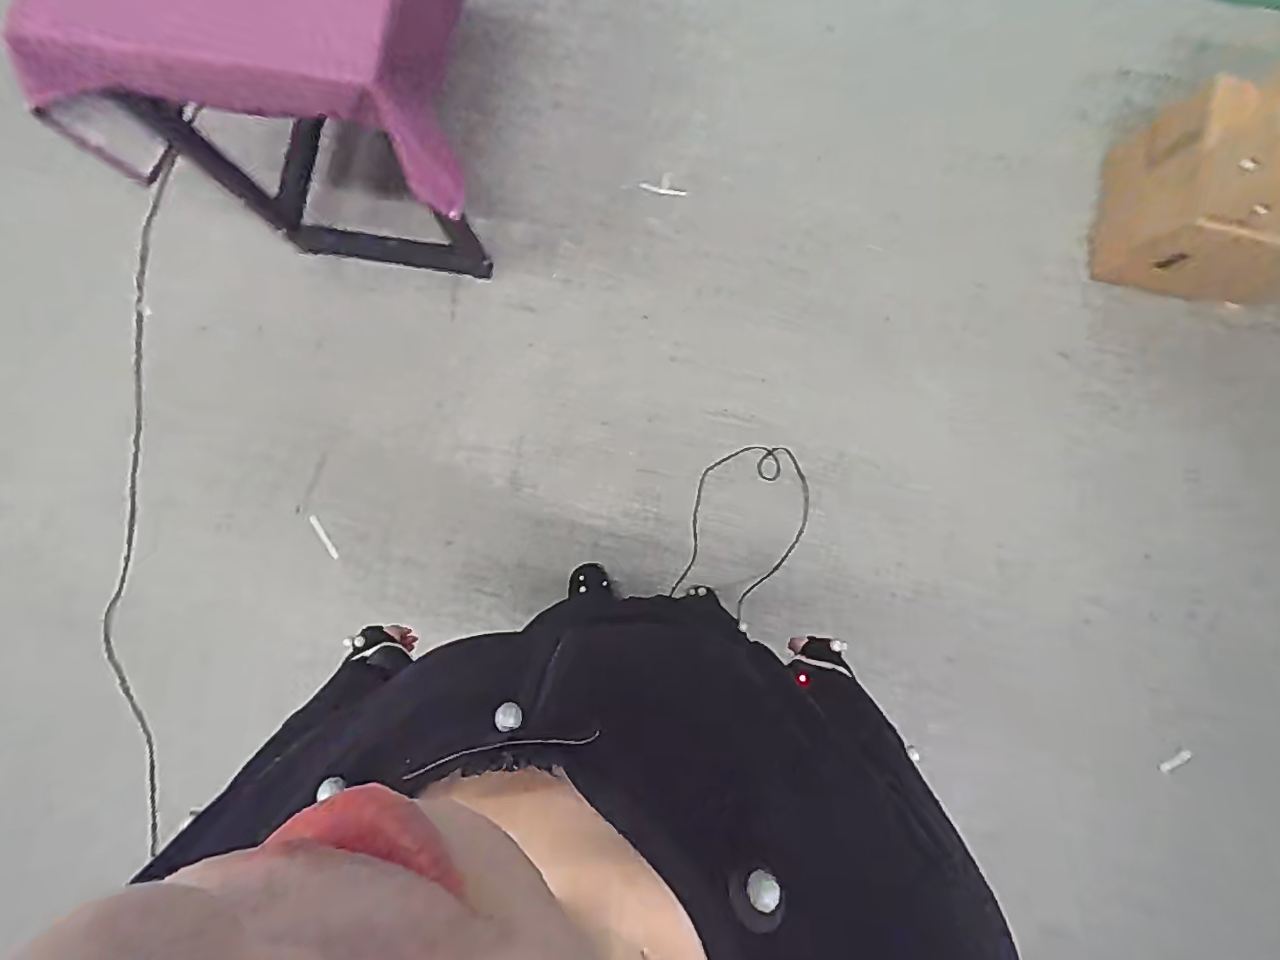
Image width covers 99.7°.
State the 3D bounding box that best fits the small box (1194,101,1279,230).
[{"bbox_3d":[1.402,-0.692,1.204,0.168,0.176,0.179,13,86,0],"label":"small box"}]
